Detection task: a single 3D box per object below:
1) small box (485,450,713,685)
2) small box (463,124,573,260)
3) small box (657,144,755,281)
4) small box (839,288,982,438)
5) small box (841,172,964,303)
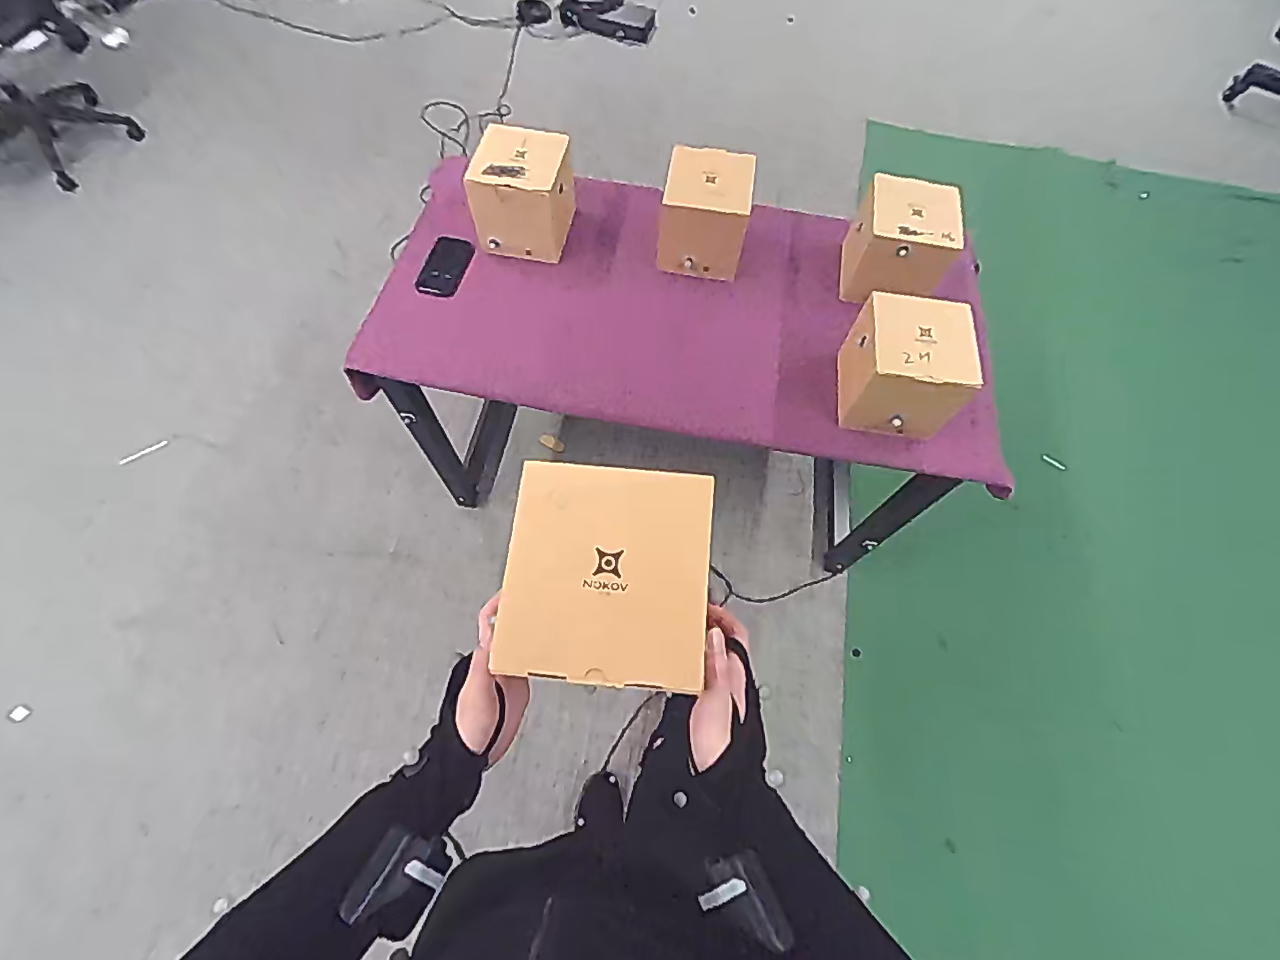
[{"bbox_3d":[-0.028,0.089,0.506,0.168,0.176,0.179,5,72,2],"label":"small box"},{"bbox_3d":[-0.235,-0.576,1.095,0.168,0.176,0.179,10,64,2],"label":"small box"},{"bbox_3d":[0.129,-0.537,1.094,0.168,0.176,0.179,9,65,3],"label":"small box"},{"bbox_3d":[0.454,-0.198,0.936,0.168,0.176,0.179,9,64,3],"label":"small box"},{"bbox_3d":[0.511,-0.469,1.076,0.168,0.176,0.179,11,64,4],"label":"small box"}]
